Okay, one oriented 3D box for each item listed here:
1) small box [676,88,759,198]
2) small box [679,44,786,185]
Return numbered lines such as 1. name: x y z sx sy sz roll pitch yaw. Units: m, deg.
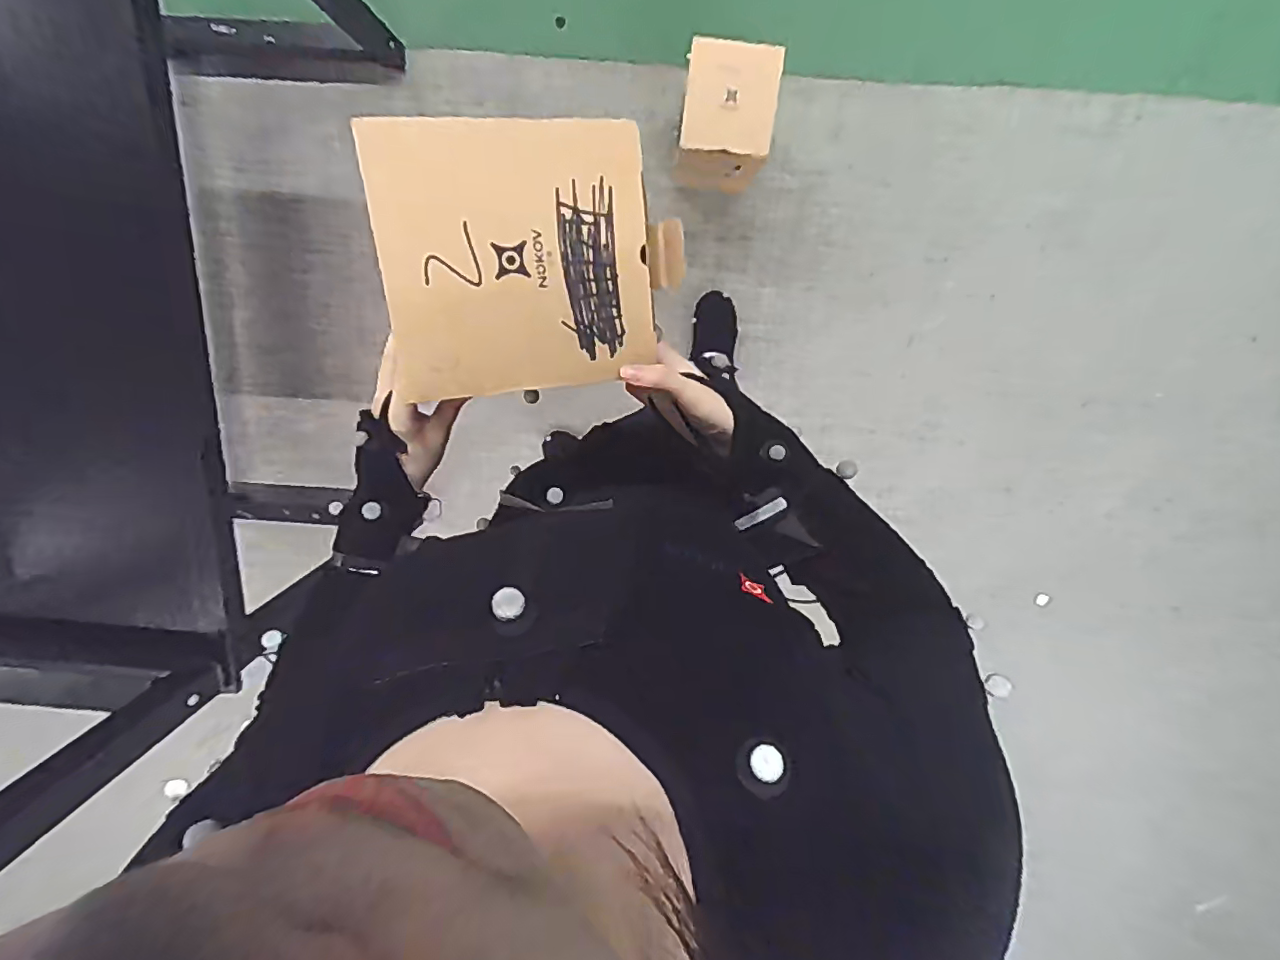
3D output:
1. small box: 0.175 -0.734 1.187 0.179 0.176 0.168 8 106 -1
2. small box: 0.167 -0.684 1.034 0.168 0.176 0.179 6 105 0
